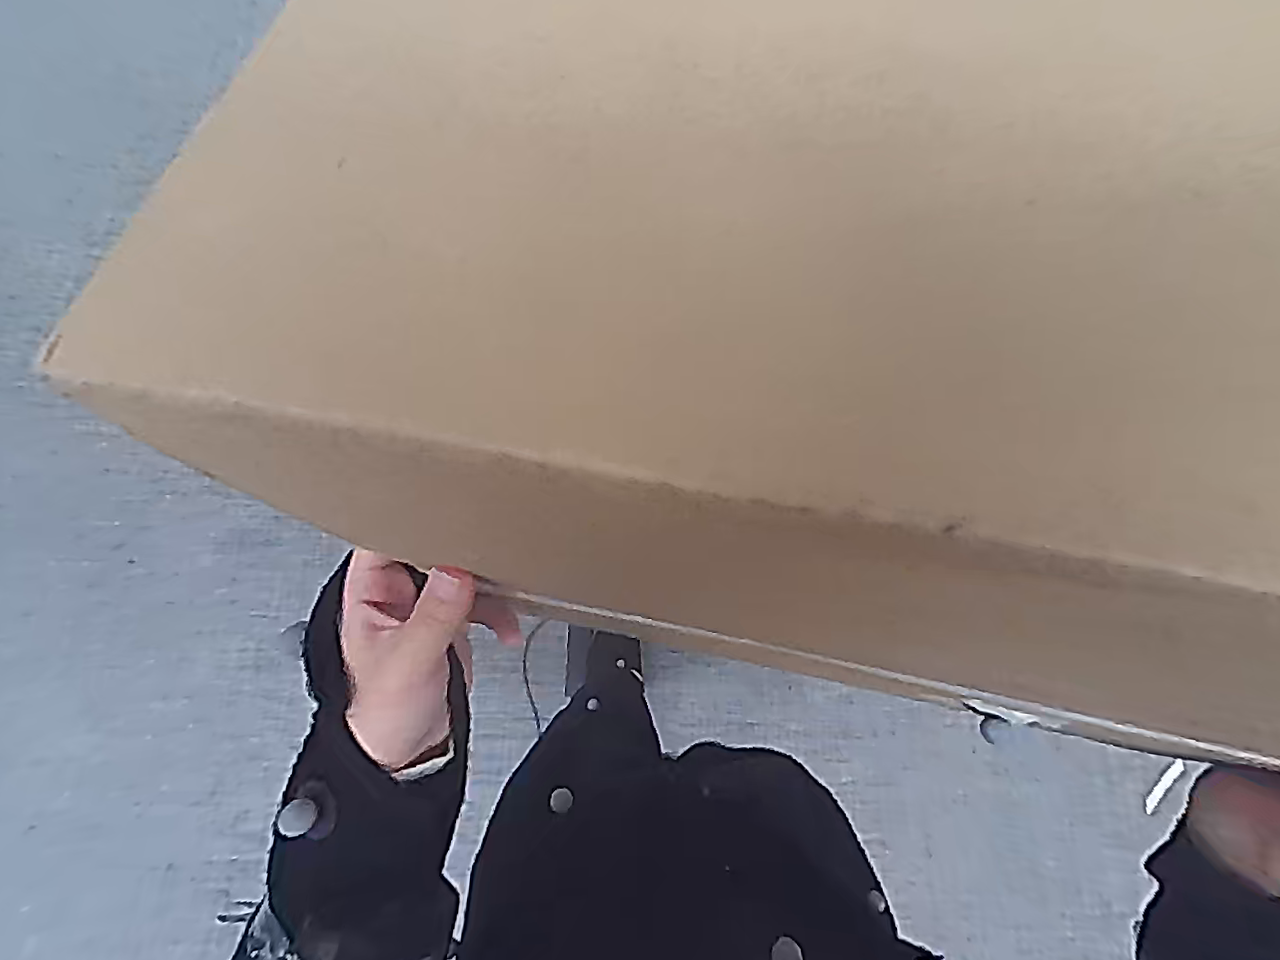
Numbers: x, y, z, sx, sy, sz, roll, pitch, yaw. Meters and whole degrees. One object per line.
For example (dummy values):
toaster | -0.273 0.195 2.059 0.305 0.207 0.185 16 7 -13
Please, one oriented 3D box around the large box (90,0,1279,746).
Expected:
large box | 0.124 -0.080 0.264 0.408 0.320 0.320 10 70 7
